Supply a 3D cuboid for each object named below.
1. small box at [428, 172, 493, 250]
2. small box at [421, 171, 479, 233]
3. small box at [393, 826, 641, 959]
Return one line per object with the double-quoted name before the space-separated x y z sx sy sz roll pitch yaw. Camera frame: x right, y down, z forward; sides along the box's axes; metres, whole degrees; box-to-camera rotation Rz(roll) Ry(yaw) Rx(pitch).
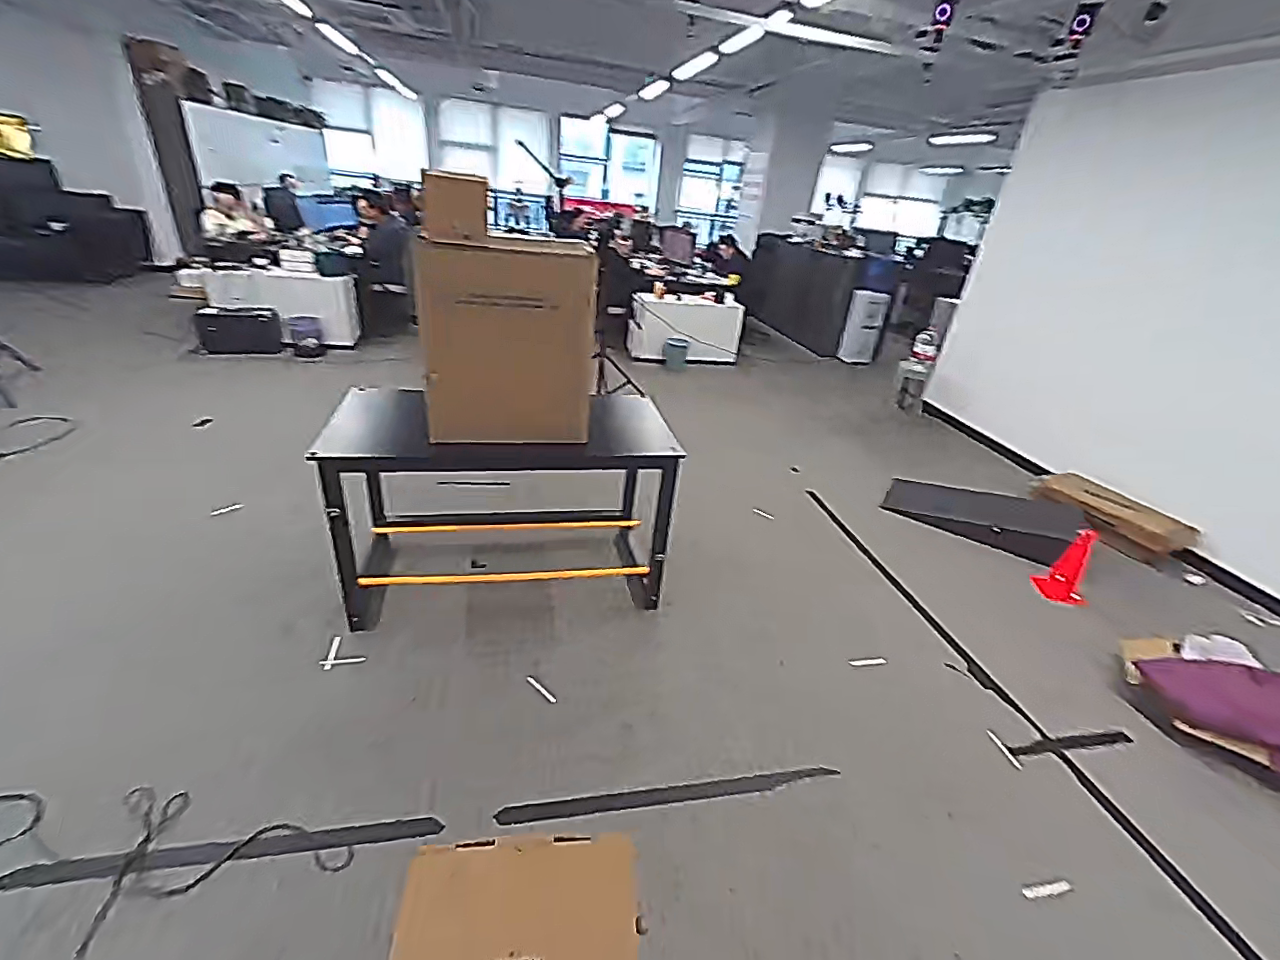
"small box" -0.509 -0.768 1.543 0.168 0.176 0.179 -1 32 -17
"small box" -0.587 -0.860 1.691 0.168 0.176 0.179 -2 29 -18
"small box" -0.085 0.386 0.400 0.168 0.176 0.179 -1 42 -5
